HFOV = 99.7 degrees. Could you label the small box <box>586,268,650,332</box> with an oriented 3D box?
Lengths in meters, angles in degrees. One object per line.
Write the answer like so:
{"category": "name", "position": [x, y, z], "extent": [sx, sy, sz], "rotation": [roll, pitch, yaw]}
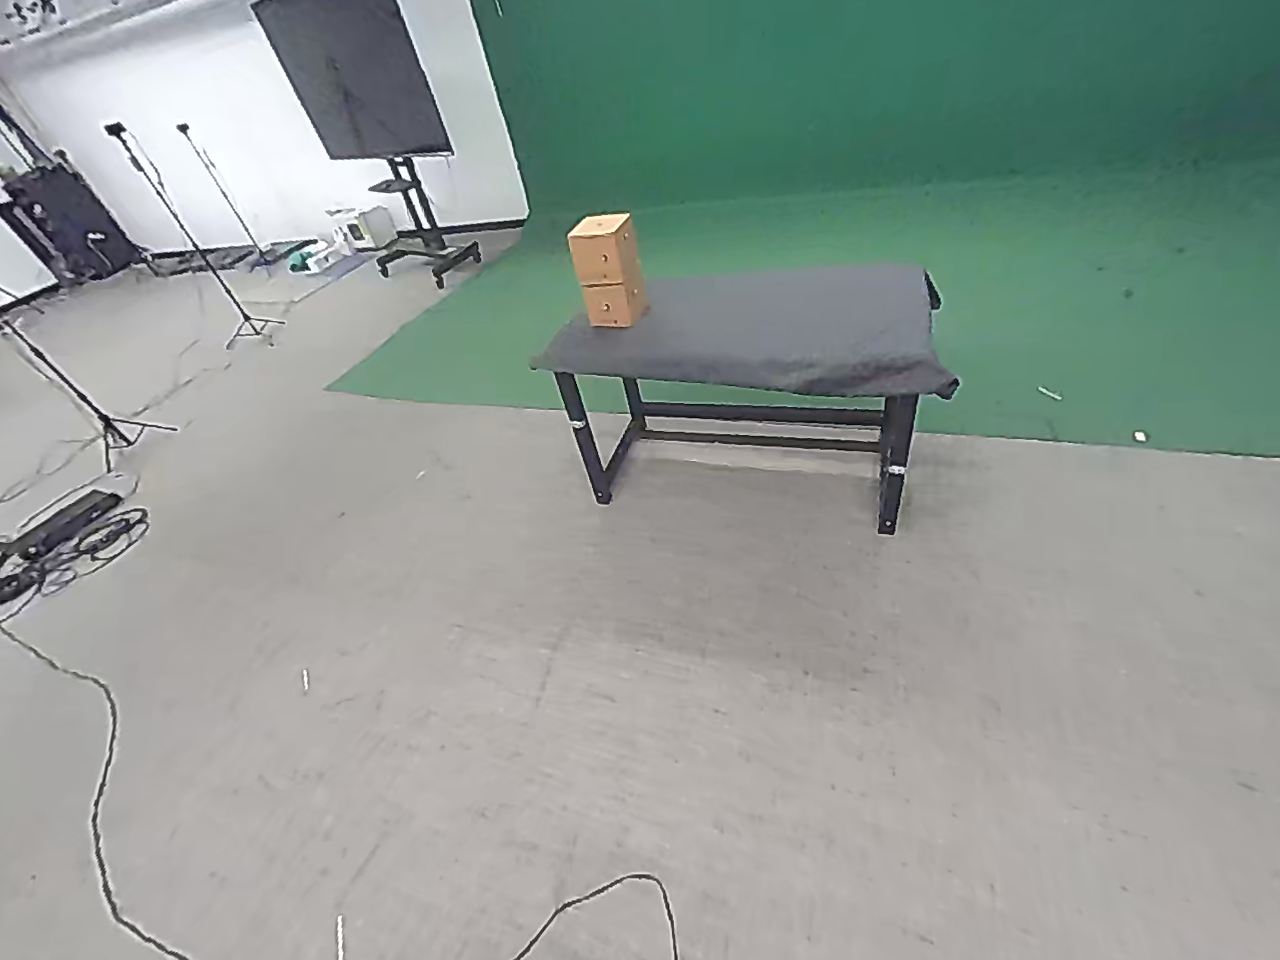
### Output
{"category": "small box", "position": [-0.072, -0.650, 1.961], "extent": [0.168, 0.176, 0.179], "rotation": [7, 45, 22]}

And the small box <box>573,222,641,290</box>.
{"category": "small box", "position": [-0.104, -0.760, 1.845], "extent": [0.168, 0.176, 0.179], "rotation": [6, 44, 20]}
